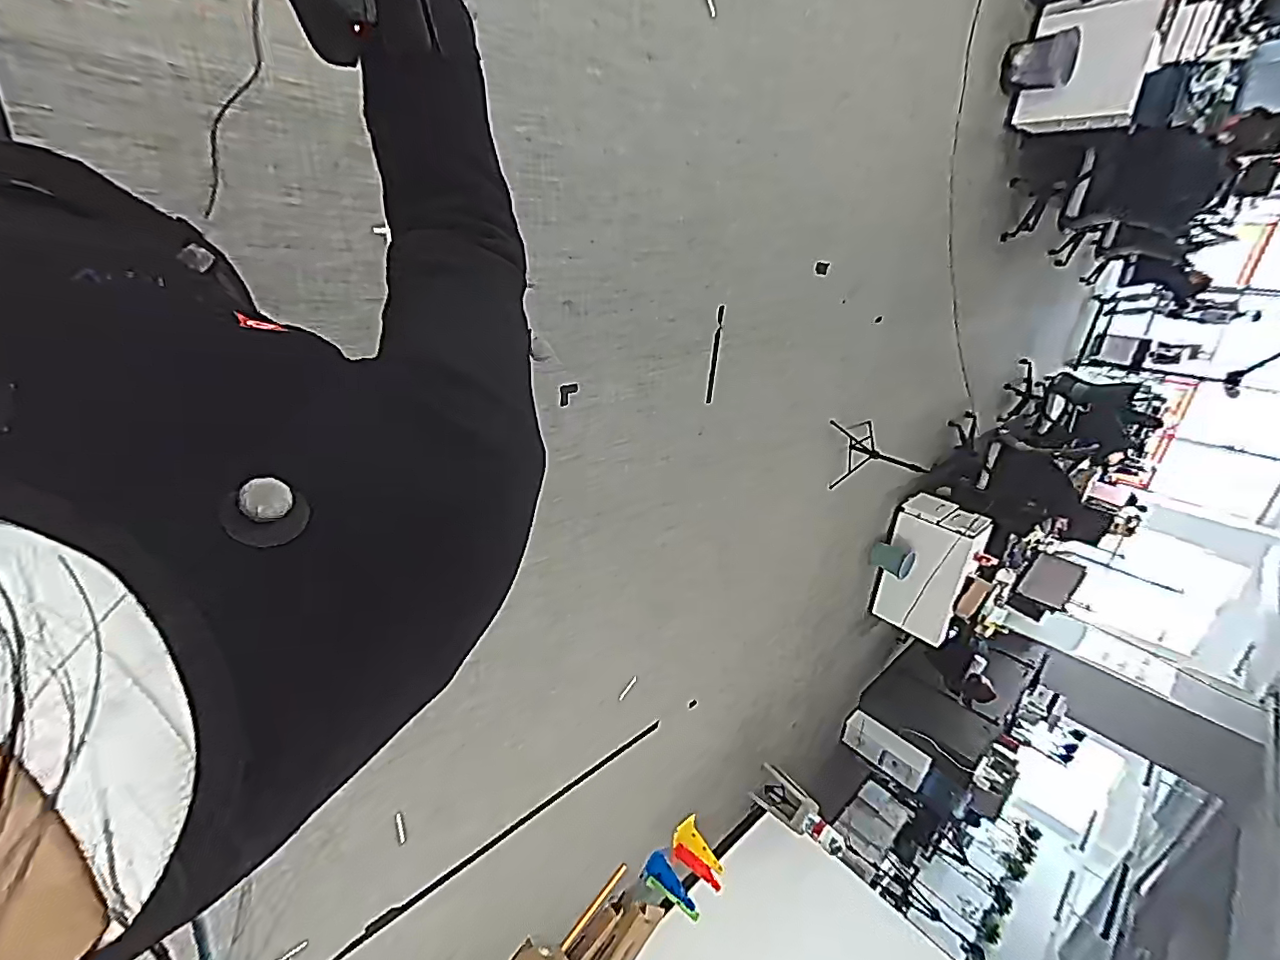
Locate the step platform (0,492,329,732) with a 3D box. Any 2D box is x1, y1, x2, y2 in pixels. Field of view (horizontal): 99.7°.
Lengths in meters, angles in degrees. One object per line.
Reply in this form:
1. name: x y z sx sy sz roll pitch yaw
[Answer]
1. step platform: -1.046 0.258 1.134 0.684 0.204 0.286 -17 121 -37
